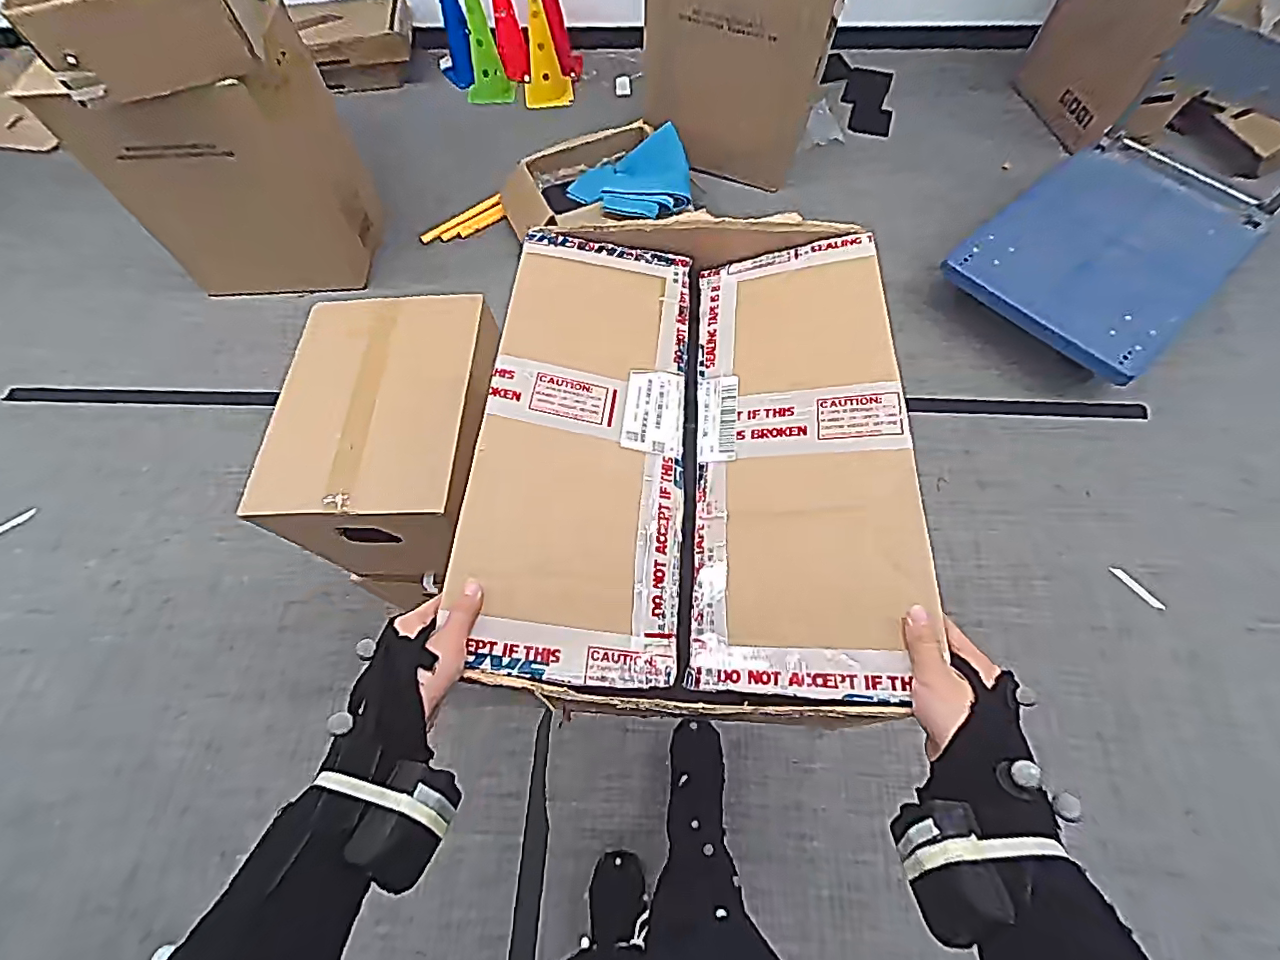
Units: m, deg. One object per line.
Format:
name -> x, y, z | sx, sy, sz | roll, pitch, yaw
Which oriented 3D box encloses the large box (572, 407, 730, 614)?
large box -> 0.022, 0.080, 1.263 | 0.320, 0.320, 0.408 | 0, 64, 2
